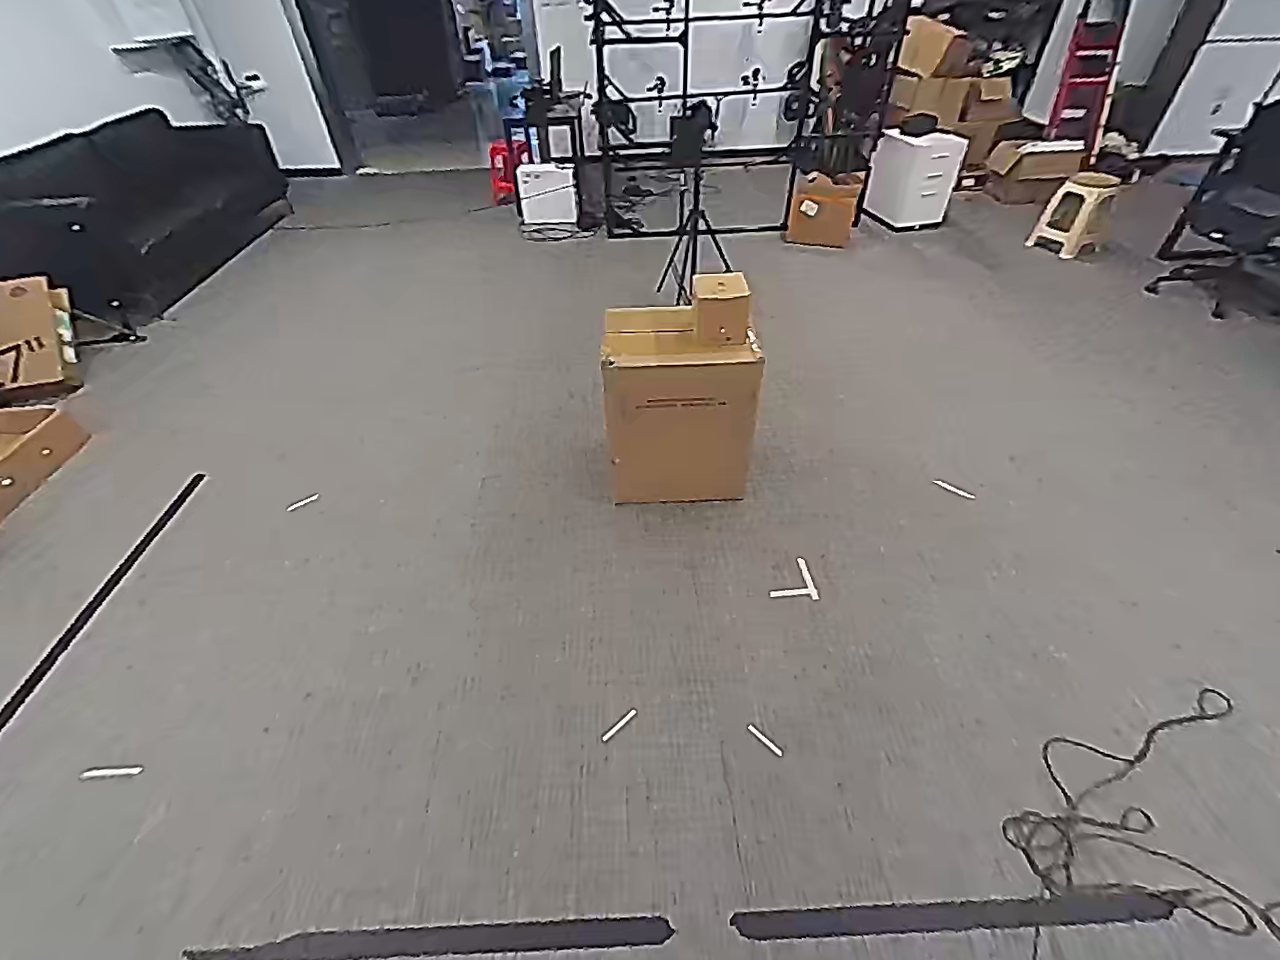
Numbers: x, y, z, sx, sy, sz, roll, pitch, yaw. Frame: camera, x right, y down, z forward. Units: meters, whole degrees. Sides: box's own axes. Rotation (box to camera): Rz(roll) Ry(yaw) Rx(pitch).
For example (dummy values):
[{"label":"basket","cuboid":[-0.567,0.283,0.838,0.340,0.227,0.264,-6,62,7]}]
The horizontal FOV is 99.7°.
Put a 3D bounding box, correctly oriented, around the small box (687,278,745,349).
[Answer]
[{"label":"small box","cuboid":[0.247,-0.553,1.794,0.168,0.176,0.179,-4,44,0]}]
